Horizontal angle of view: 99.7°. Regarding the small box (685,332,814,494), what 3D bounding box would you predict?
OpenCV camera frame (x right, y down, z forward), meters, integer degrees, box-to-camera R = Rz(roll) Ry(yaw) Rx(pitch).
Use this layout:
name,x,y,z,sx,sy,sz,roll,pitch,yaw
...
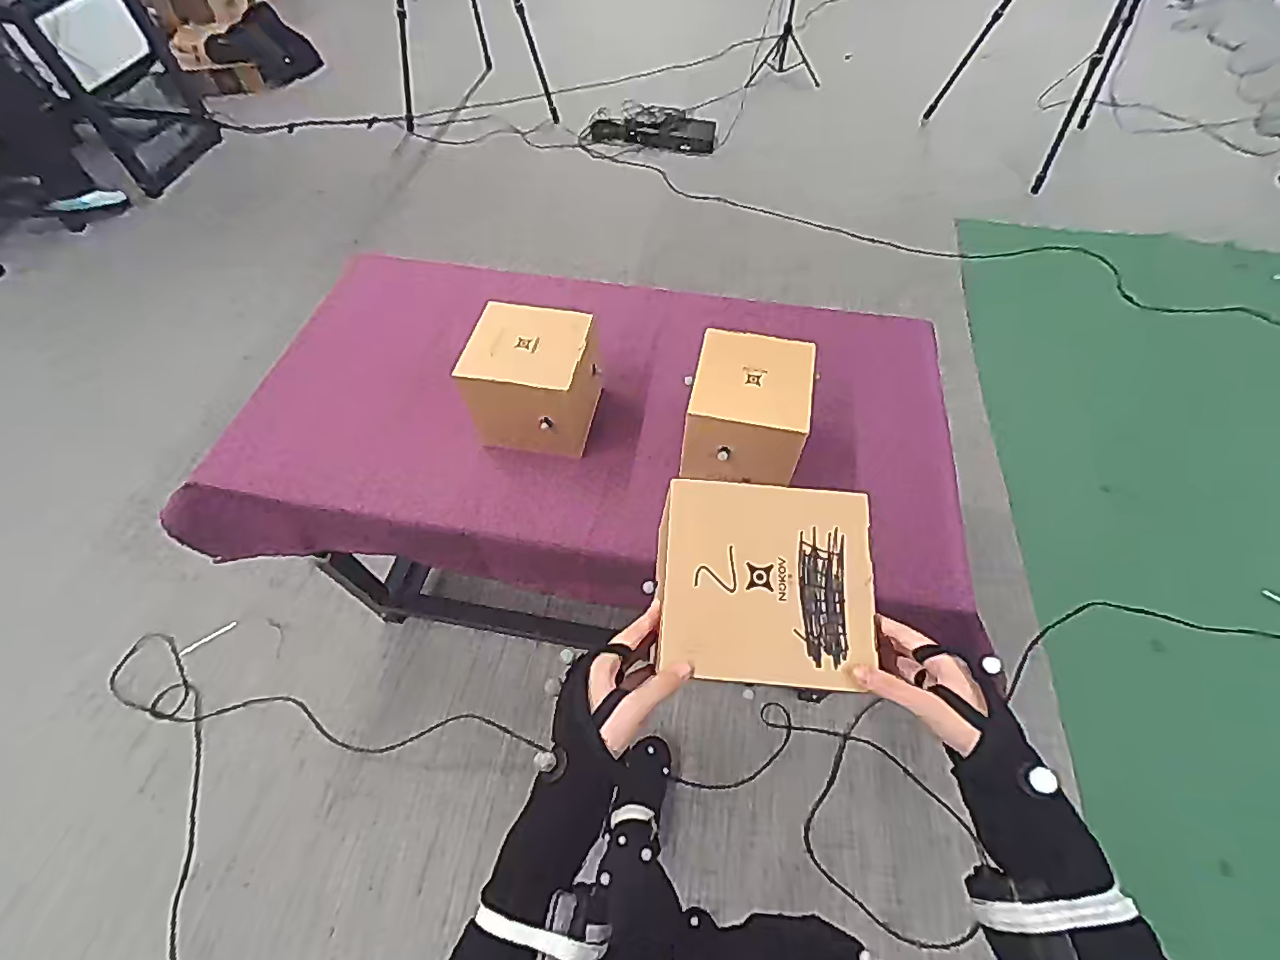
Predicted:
name,x,y,z,sx,sy,sz,roll,pitch,yaw
small box,0.163,-0.100,0.838,0.168,0.176,0.179,10,56,7

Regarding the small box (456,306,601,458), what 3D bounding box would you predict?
name,x,y,z,sx,sy,sz,roll,pitch,yaw
small box,-0.165,-0.153,0.876,0.179,0.176,0.168,8,56,7
